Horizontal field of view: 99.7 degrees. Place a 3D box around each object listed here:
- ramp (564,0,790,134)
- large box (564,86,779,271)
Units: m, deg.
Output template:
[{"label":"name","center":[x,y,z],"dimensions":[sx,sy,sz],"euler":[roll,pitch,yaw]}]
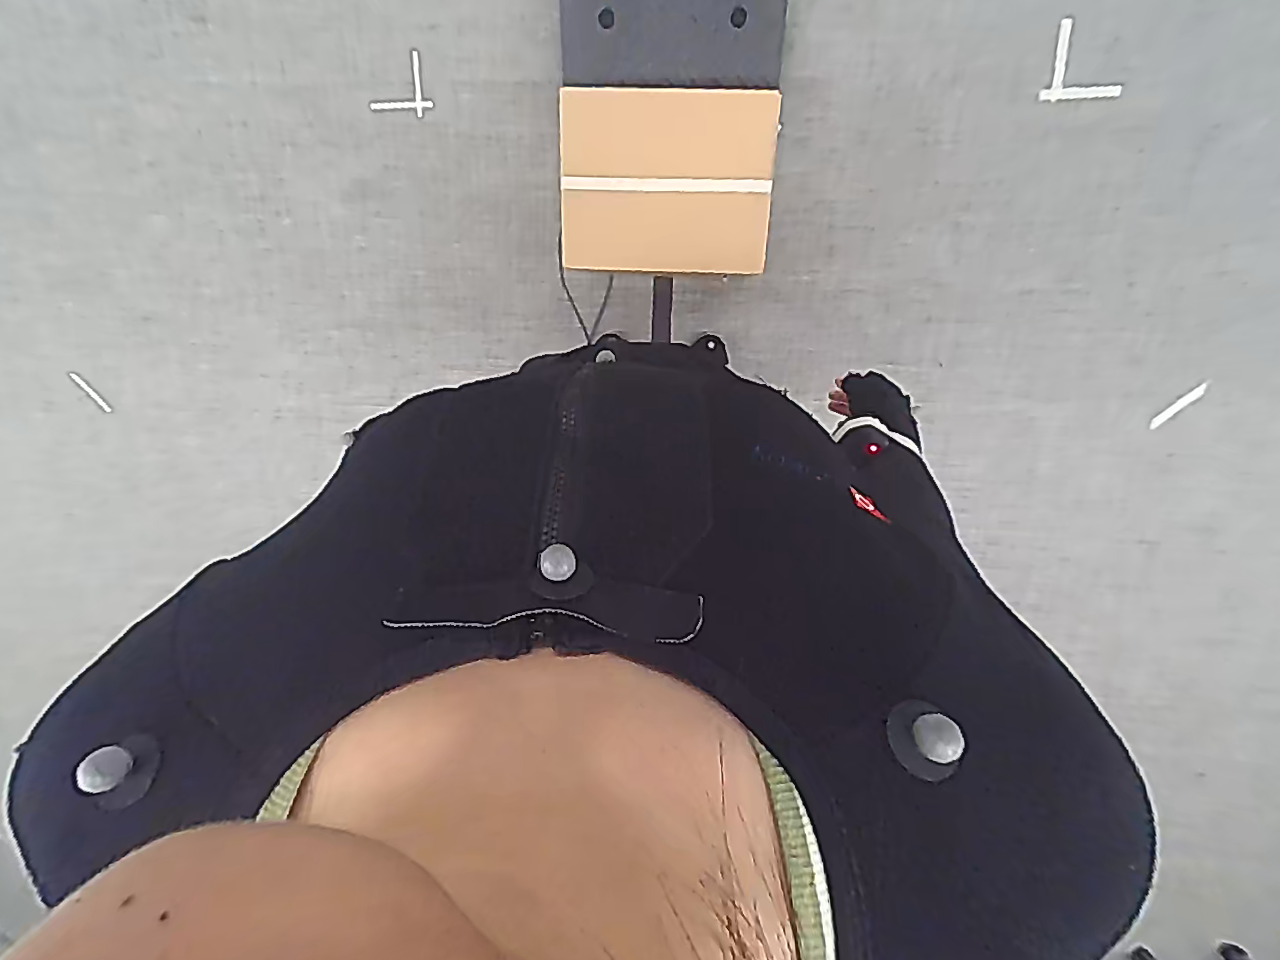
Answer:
[{"label":"ramp","center":[0.080,-1.206,1.083],"dimensions":[0.509,0.206,0.991],"euler":[0,106,3]},{"label":"large box","center":[0.066,-0.624,1.178],"dimensions":[0.408,0.320,0.320],"euler":[3,109,3]}]
